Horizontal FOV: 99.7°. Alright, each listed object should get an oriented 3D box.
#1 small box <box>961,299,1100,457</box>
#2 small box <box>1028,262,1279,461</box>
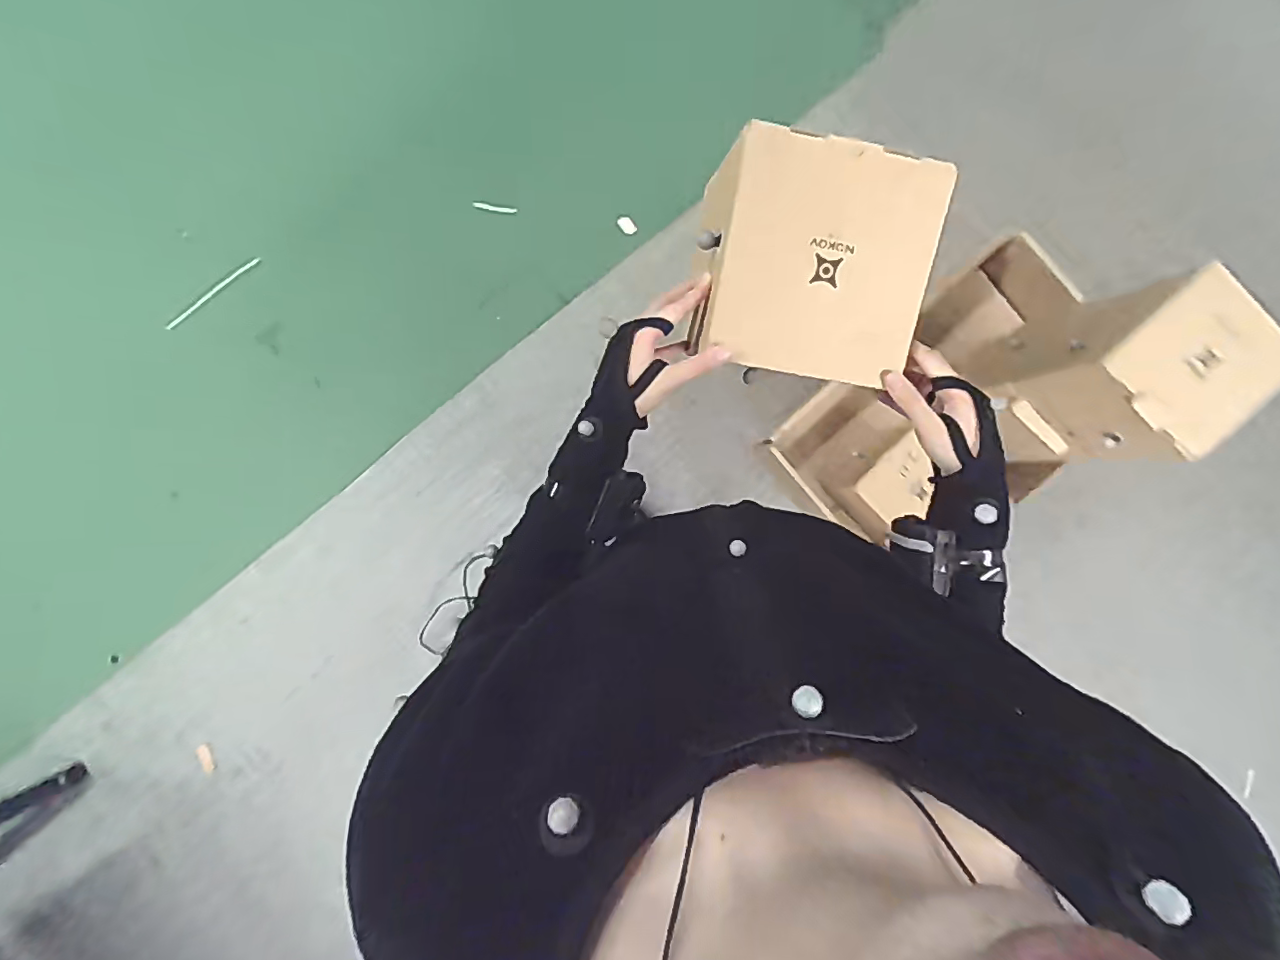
[{"bbox_3d":[0.660,-0.150,0.872,0.168,0.176,0.179,45,92,0],"label":"small box"},{"bbox_3d":[0.660,-0.139,0.709,0.179,0.176,0.168,-42,91,3],"label":"small box"}]
